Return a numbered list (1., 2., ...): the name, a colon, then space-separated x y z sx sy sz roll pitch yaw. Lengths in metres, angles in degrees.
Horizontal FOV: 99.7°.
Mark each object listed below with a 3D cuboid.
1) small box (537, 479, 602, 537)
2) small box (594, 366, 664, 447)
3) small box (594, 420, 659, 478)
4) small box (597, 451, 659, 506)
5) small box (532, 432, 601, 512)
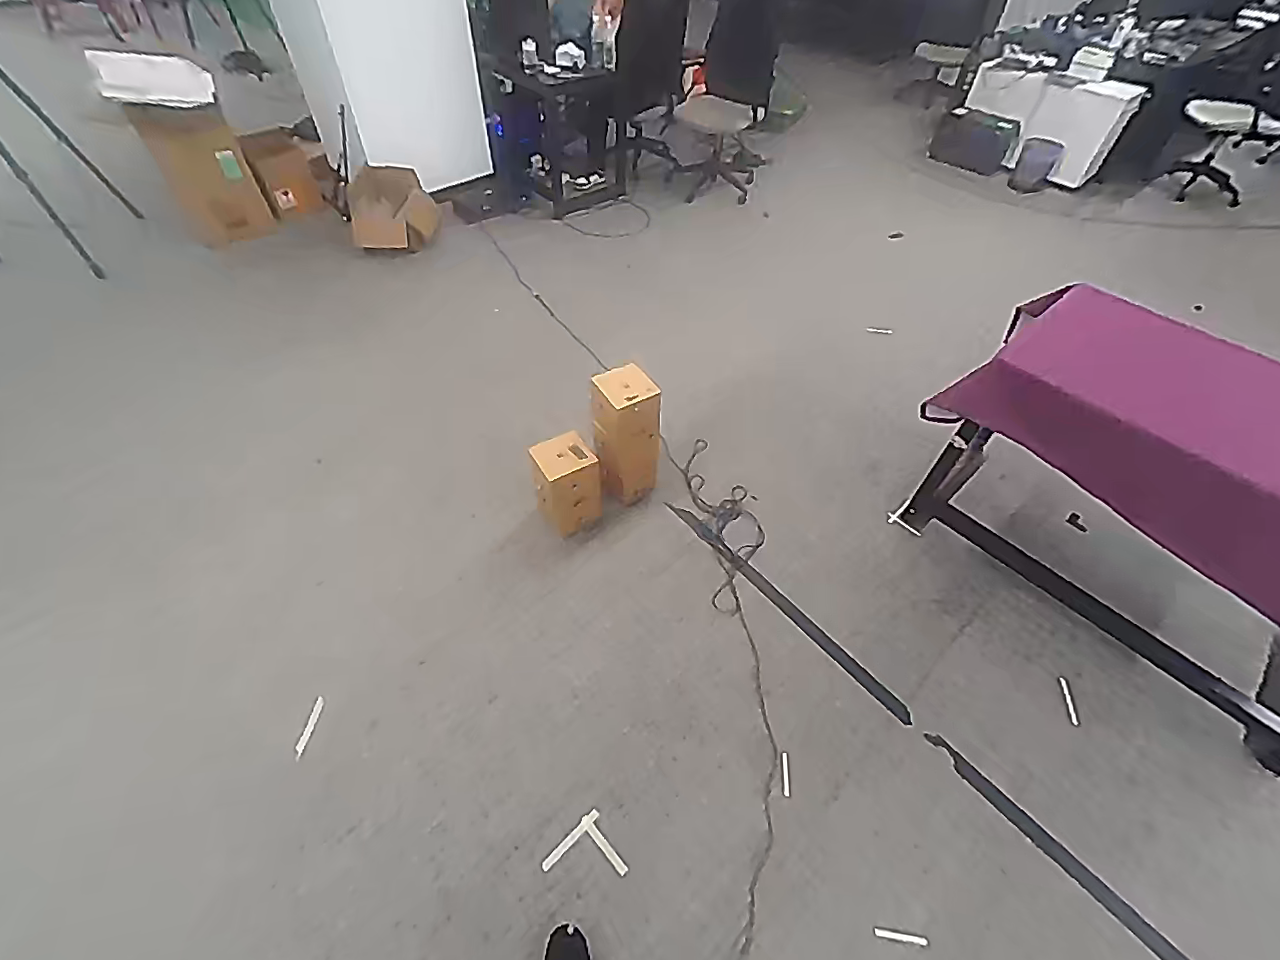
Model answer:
1. small box: -0.249 0.069 1.933 0.168 0.176 0.179 -28 57 -22
2. small box: -0.039 -0.241 1.777 0.168 0.176 0.179 -24 54 -20
3. small box: -0.042 -0.138 1.905 0.179 0.176 0.168 -31 57 -24
4. small box: -0.048 -0.034 2.030 0.168 0.176 0.179 -32 58 -25
5. small box: -0.241 -0.024 1.797 0.179 0.176 0.168 -25 55 -20
